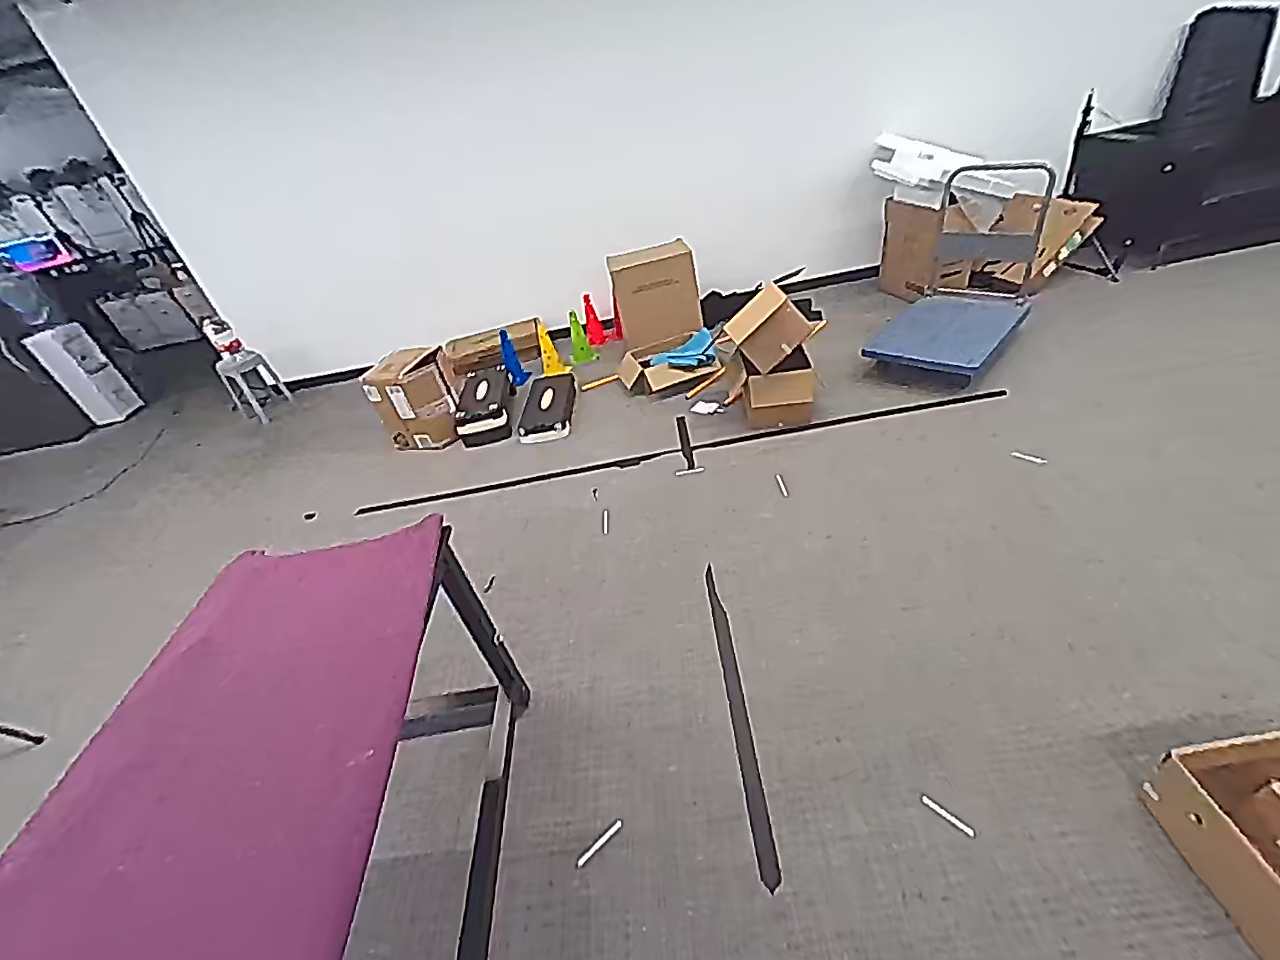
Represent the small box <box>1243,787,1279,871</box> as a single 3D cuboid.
[{"bbox_3d":[1.353,0.705,1.052,0.179,0.176,0.168,-12,38,1],"label":"small box"}]
